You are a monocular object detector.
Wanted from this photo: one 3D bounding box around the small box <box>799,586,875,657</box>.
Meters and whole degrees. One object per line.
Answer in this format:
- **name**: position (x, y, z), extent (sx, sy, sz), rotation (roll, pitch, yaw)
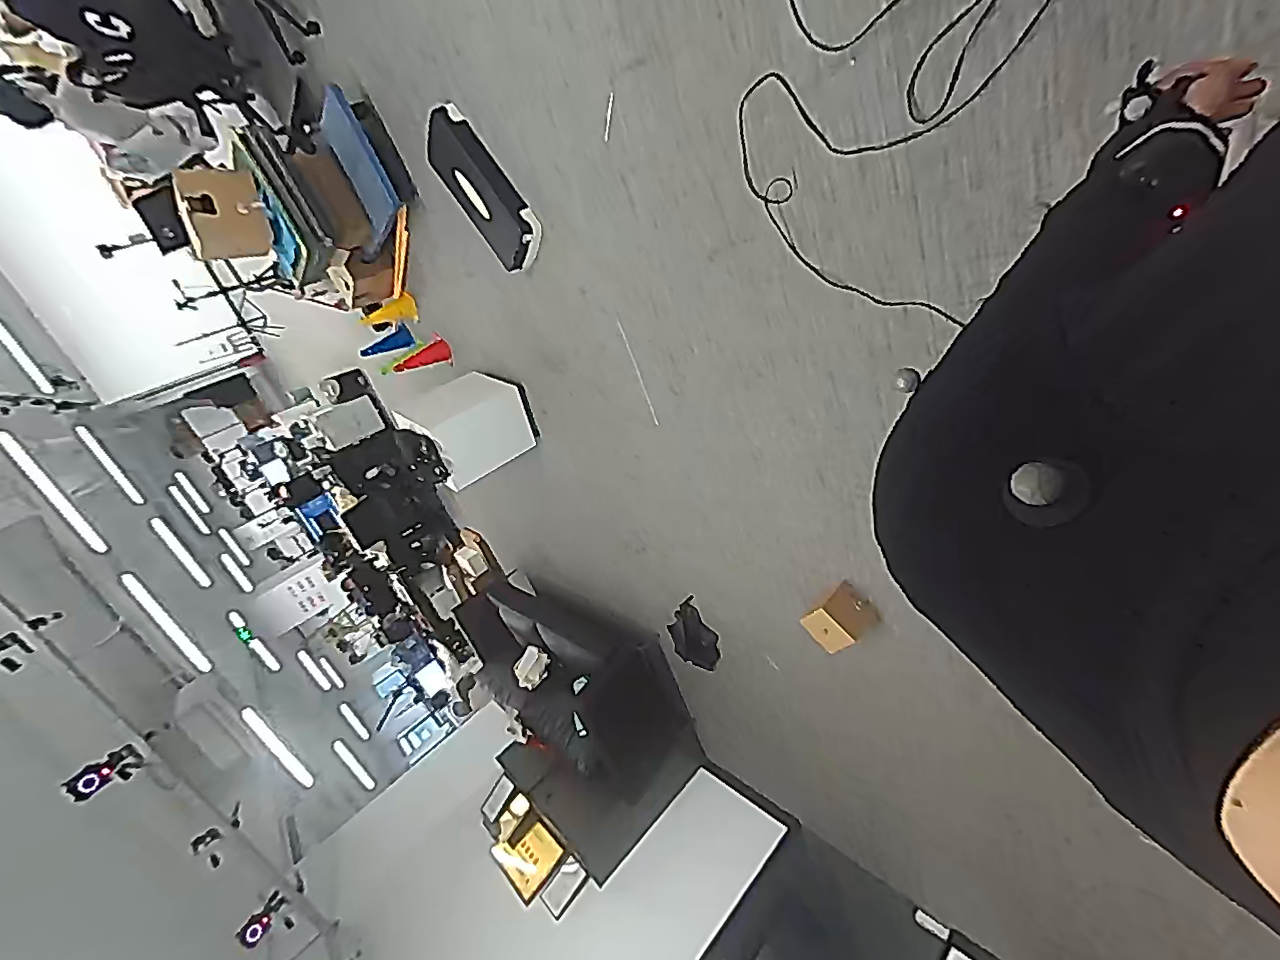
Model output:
- **small box**: position (0.736, 0.527, 2.016), extent (0.168, 0.176, 0.179), rotation (45, 148, 14)
